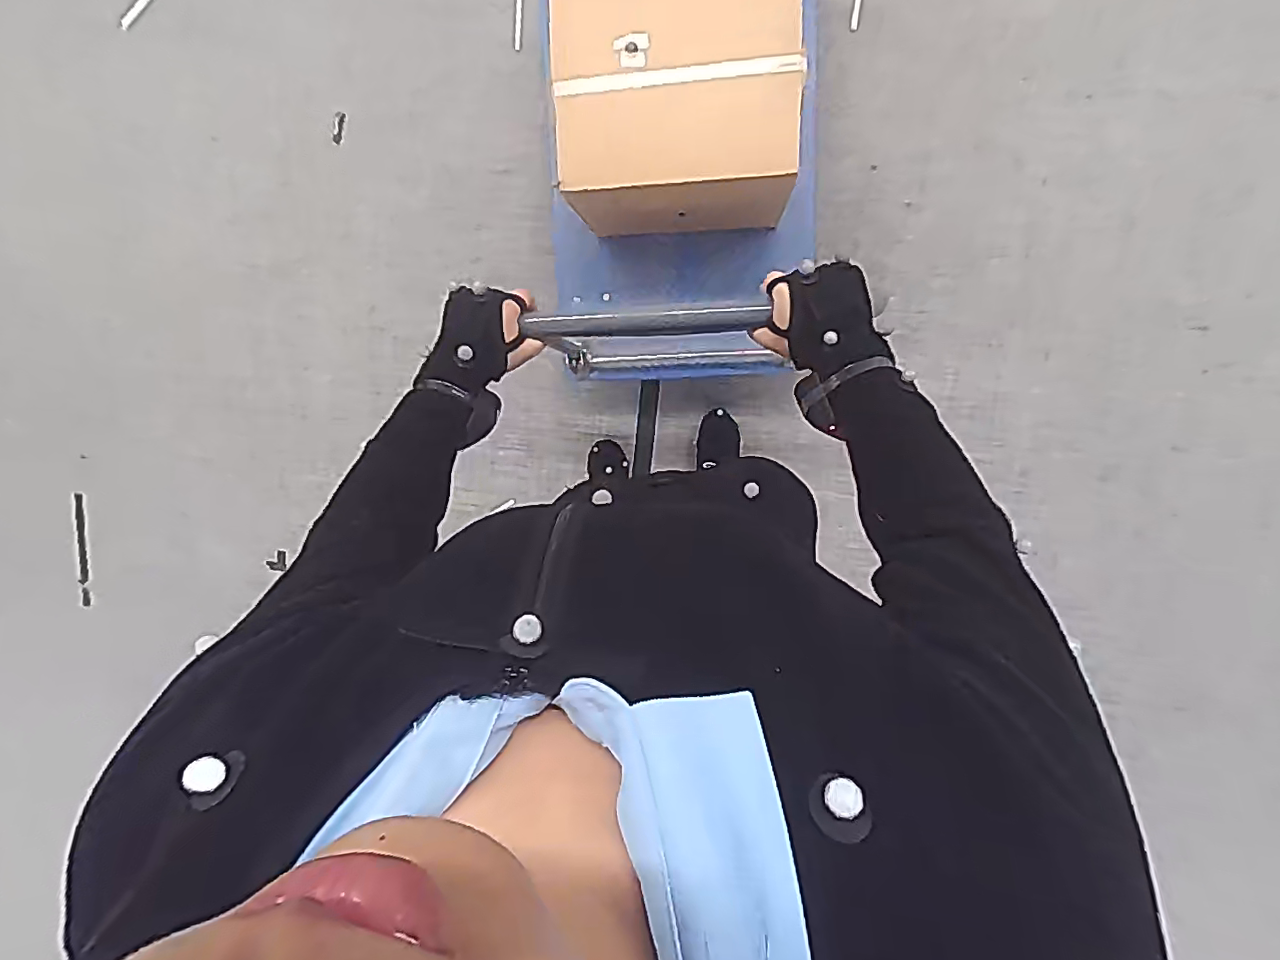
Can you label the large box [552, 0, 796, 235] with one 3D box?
[{"bbox_3d":[0.078,-0.684,1.042,0.408,0.320,0.320,0,99,9],"label":"large box"}]
